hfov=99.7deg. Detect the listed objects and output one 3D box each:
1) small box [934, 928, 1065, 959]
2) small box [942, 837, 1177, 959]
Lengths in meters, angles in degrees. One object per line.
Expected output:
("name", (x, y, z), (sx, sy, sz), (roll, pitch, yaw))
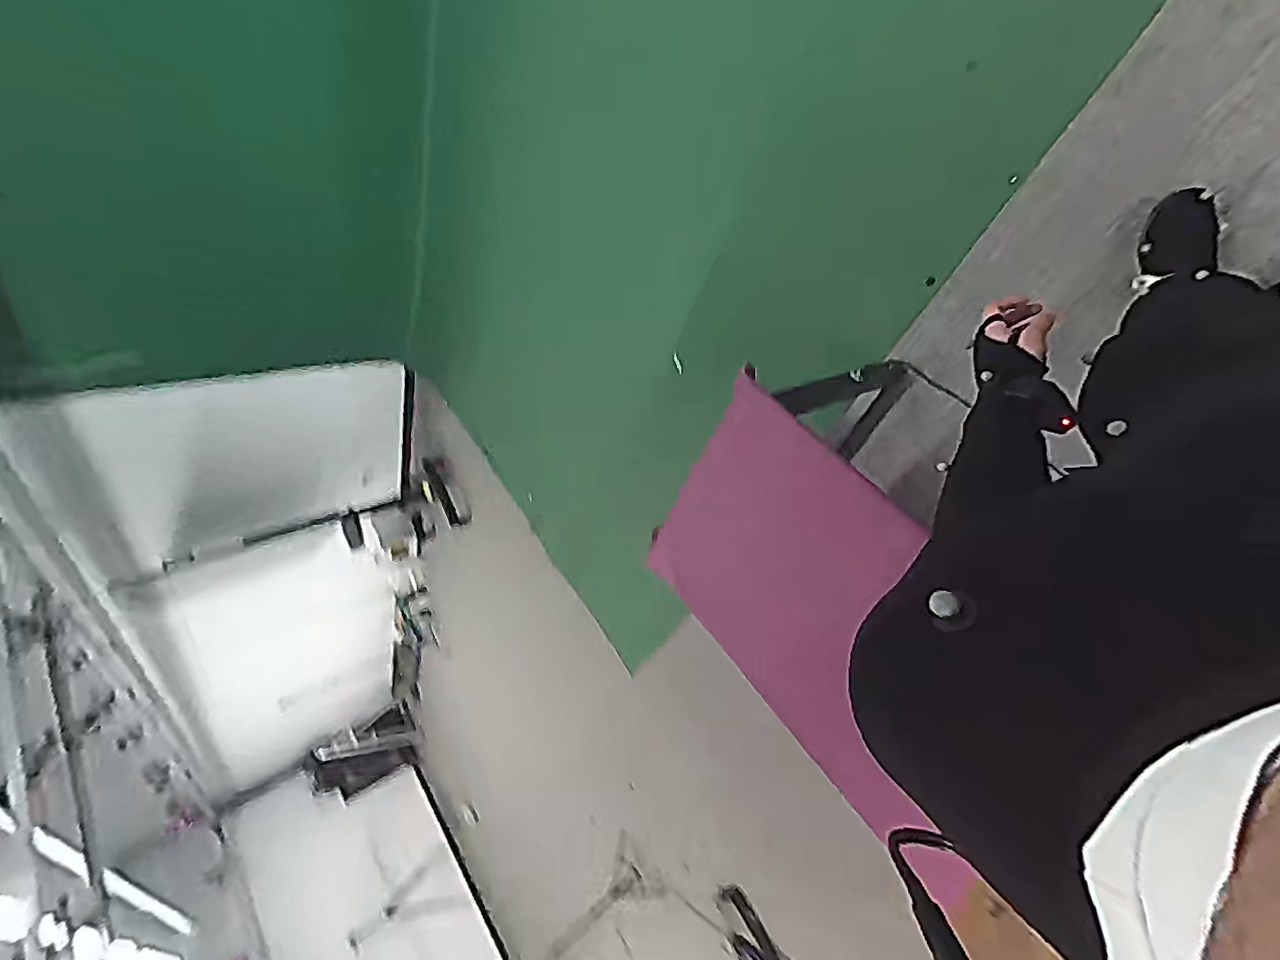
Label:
("small box", (0.424, 0.657, 0.607), (0.168, 0.176, 0.179), (48, 136, 26))
("small box", (0.548, 0.610, 0.705), (0.168, 0.176, 0.179), (49, 136, 26))
